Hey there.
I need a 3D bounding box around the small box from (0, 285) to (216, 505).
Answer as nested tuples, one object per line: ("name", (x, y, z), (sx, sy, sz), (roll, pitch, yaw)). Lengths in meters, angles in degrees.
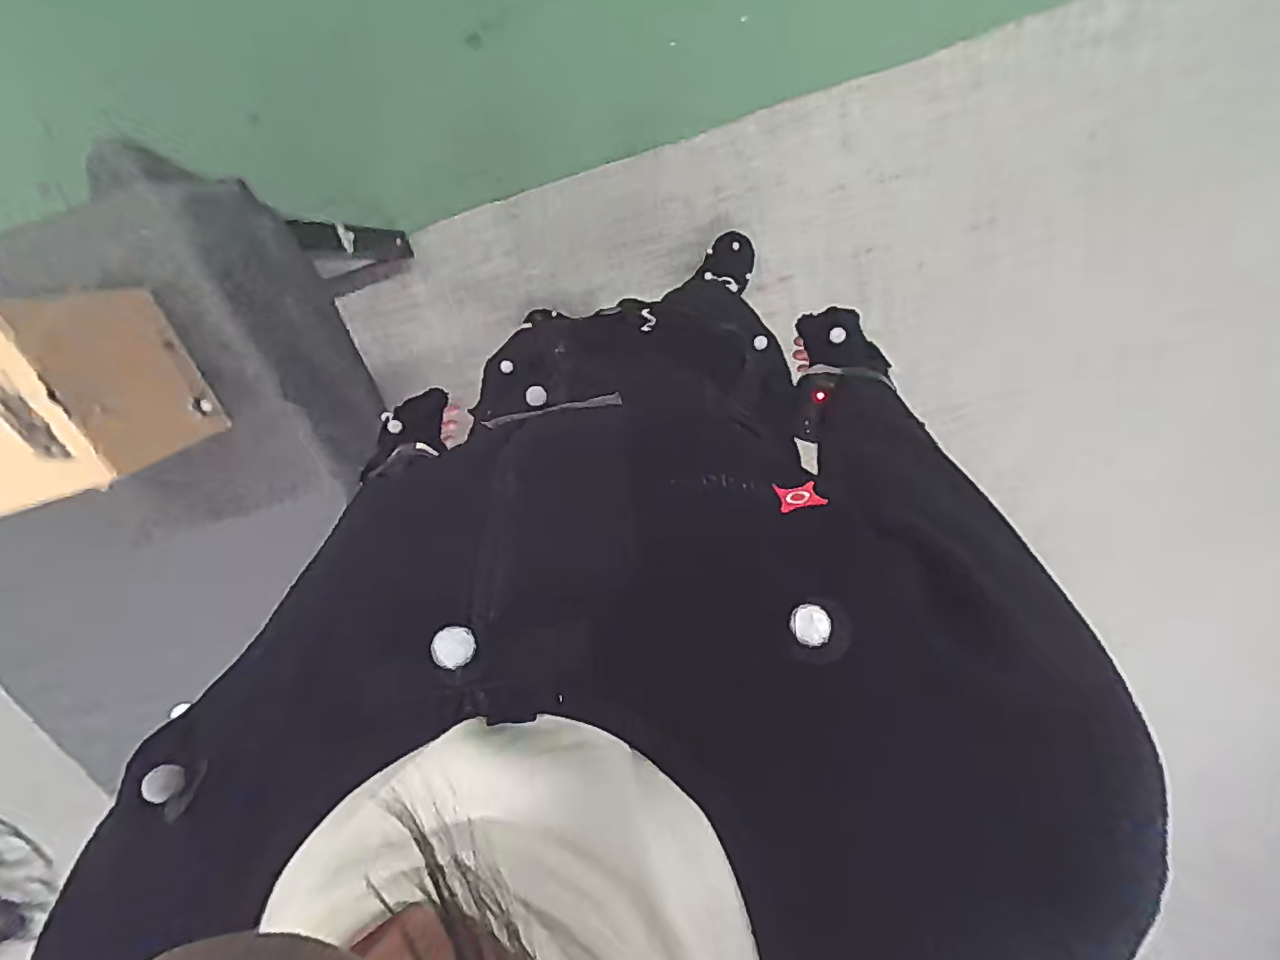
("small box", (-0.595, -0.093, 0.559), (0.179, 0.176, 0.168), (-15, 113, 6))
